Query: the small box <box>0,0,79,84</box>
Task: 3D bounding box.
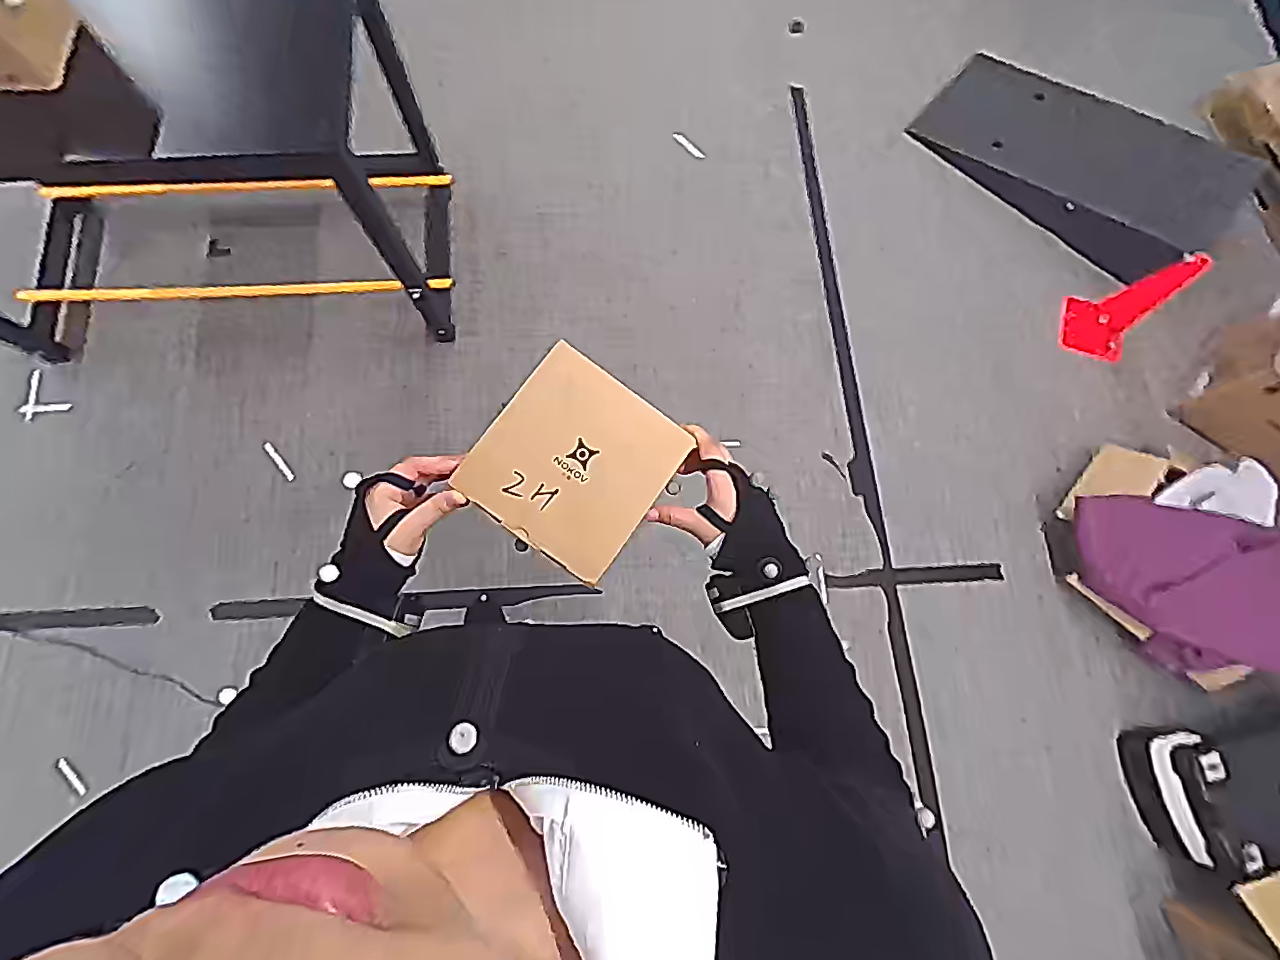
[{"bbox_3d":[-1.107,-0.800,0.900,0.168,0.176,0.179,-1,77,-3],"label":"small box"}]
